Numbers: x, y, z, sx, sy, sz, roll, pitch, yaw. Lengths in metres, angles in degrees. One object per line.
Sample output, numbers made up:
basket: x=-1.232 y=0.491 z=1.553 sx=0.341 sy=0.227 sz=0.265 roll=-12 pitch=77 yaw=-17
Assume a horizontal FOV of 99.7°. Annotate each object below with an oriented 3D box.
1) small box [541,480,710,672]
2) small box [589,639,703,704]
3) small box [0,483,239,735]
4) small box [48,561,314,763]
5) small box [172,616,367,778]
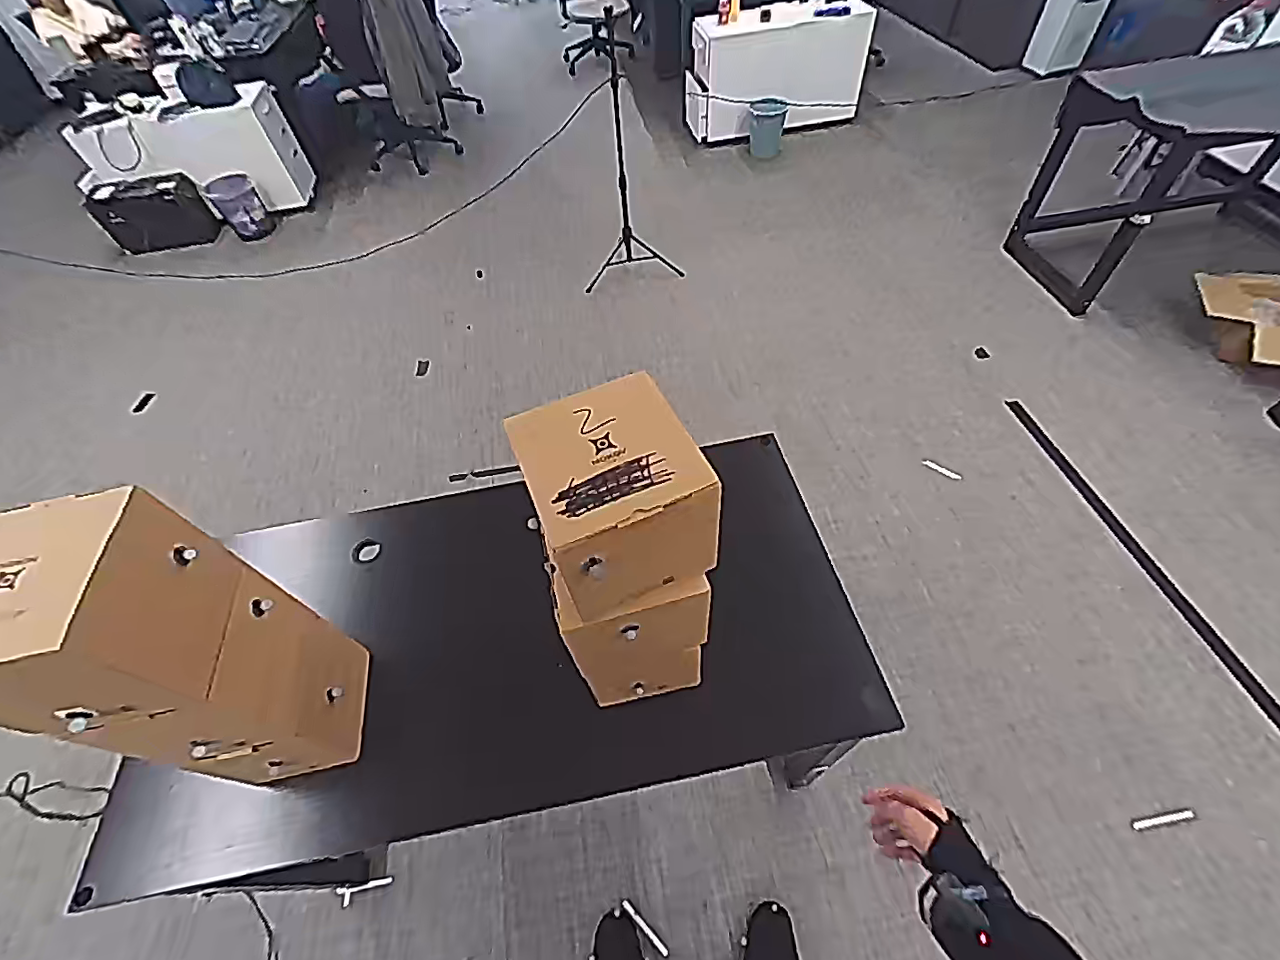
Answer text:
small box: x=-0.016 y=0.130 z=0.704 sx=0.179 sy=0.176 sz=0.168 roll=-14 pitch=54 yaw=-6
small box: x=-0.005 y=0.223 z=0.839 sx=0.168 sy=0.176 sz=0.179 roll=-12 pitch=53 yaw=-3
small box: x=-0.554 y=0.133 z=0.546 sx=0.168 sy=0.176 sz=0.179 roll=-13 pitch=54 yaw=-3
small box: x=-0.543 y=0.230 z=0.676 sx=0.168 sy=0.176 sz=0.179 roll=-12 pitch=53 yaw=-3
small box: x=-0.530 y=0.330 z=0.807 sx=0.168 sy=0.176 sz=0.179 roll=-12 pitch=54 yaw=-4
